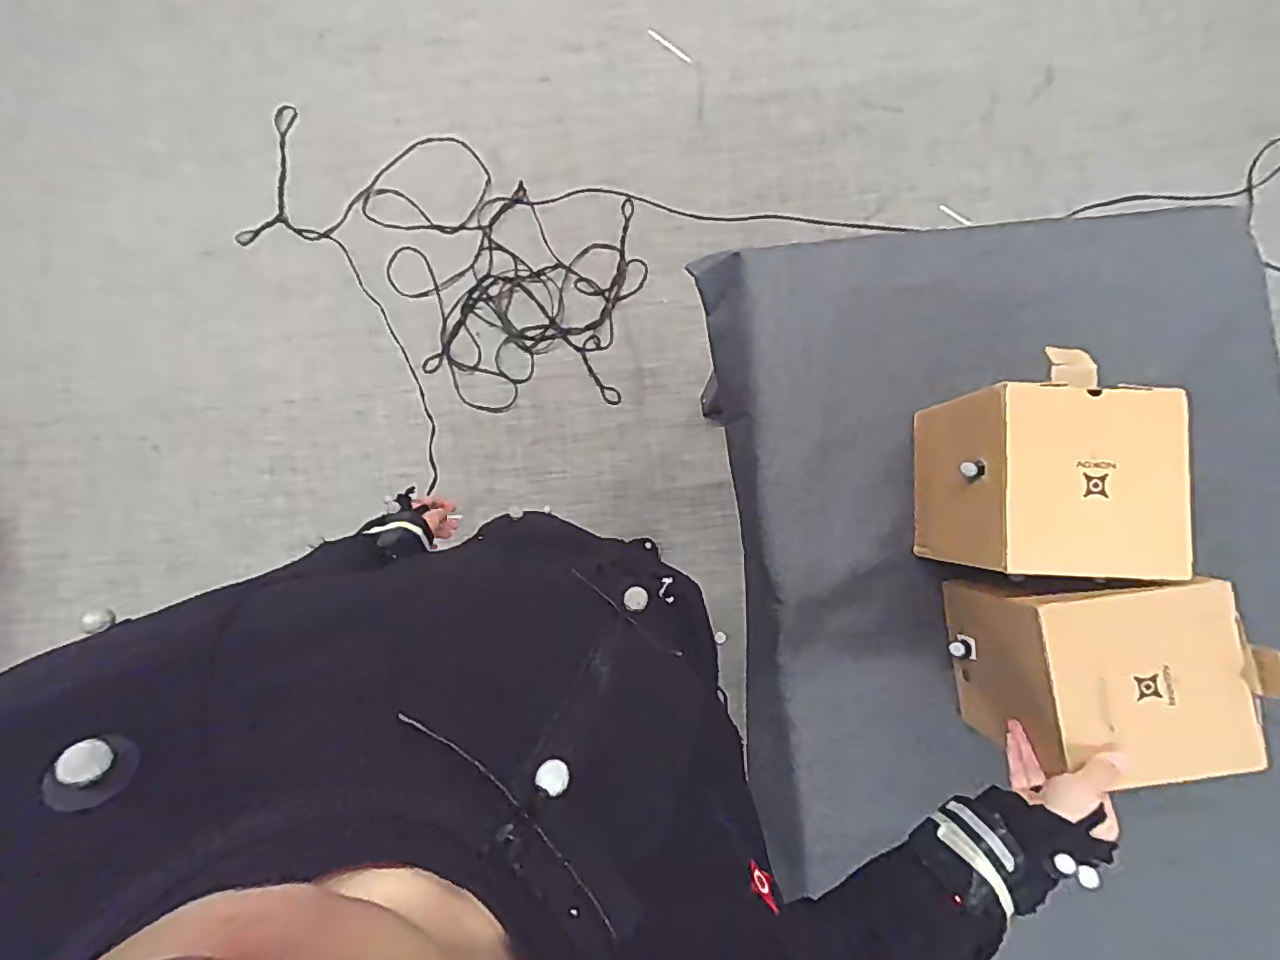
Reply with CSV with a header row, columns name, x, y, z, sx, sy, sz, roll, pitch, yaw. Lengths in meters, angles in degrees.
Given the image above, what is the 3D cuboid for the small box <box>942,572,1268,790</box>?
name,x,y,z,sx,sy,sz,roll,pitch,yaw
small box,0.453,0.183,0.557,0.179,0.176,0.168,-9,85,0

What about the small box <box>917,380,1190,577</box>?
name,x,y,z,sx,sy,sz,roll,pitch,yaw
small box,0.413,0.003,0.569,0.168,0.176,0.179,2,86,0
